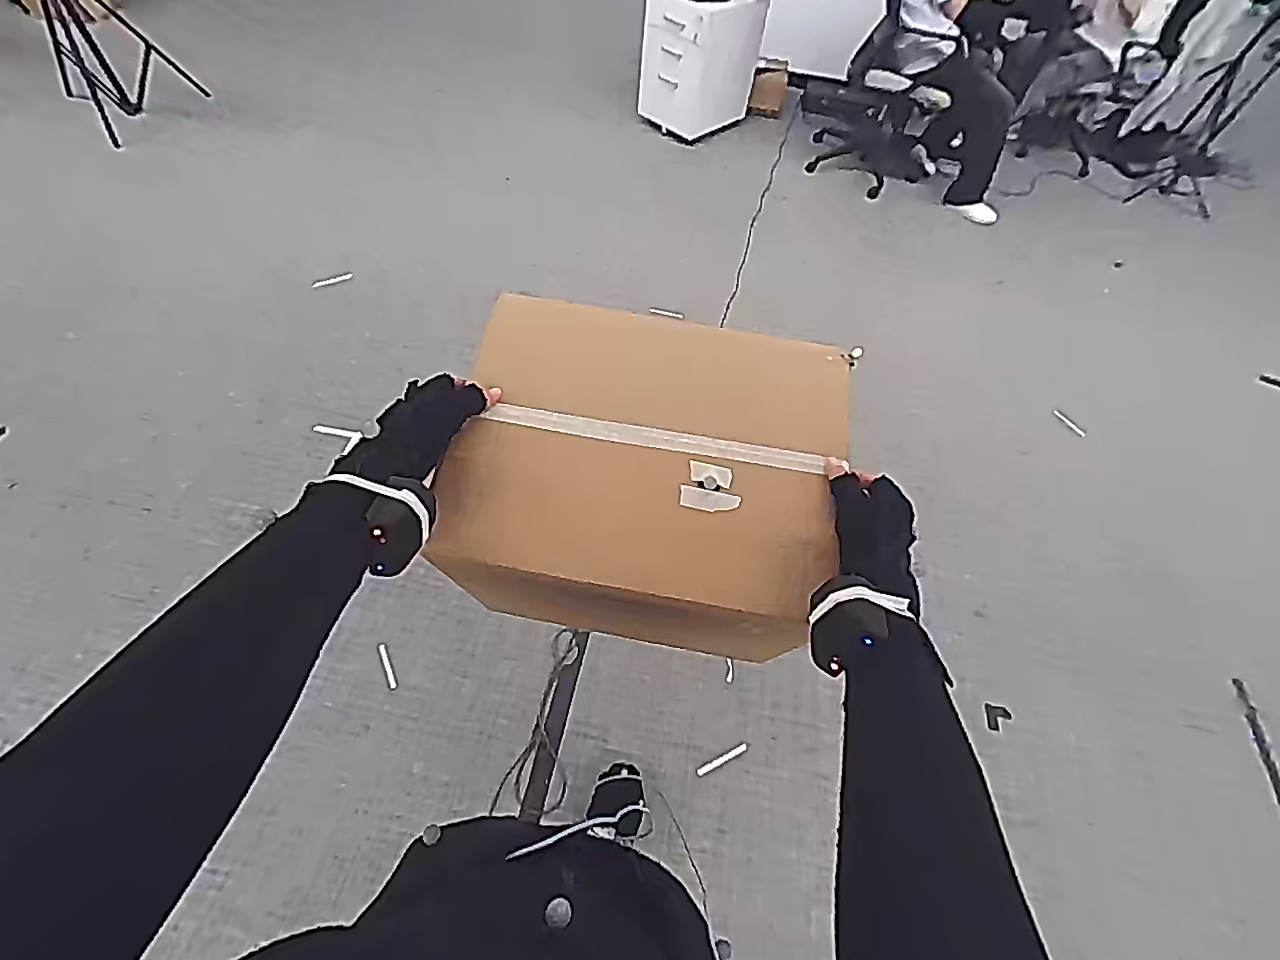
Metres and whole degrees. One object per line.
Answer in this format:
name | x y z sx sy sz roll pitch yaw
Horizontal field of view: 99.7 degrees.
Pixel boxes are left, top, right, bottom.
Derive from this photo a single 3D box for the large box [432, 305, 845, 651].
large box | 0.011 0.019 0.707 0.408 0.320 0.320 10 67 3
